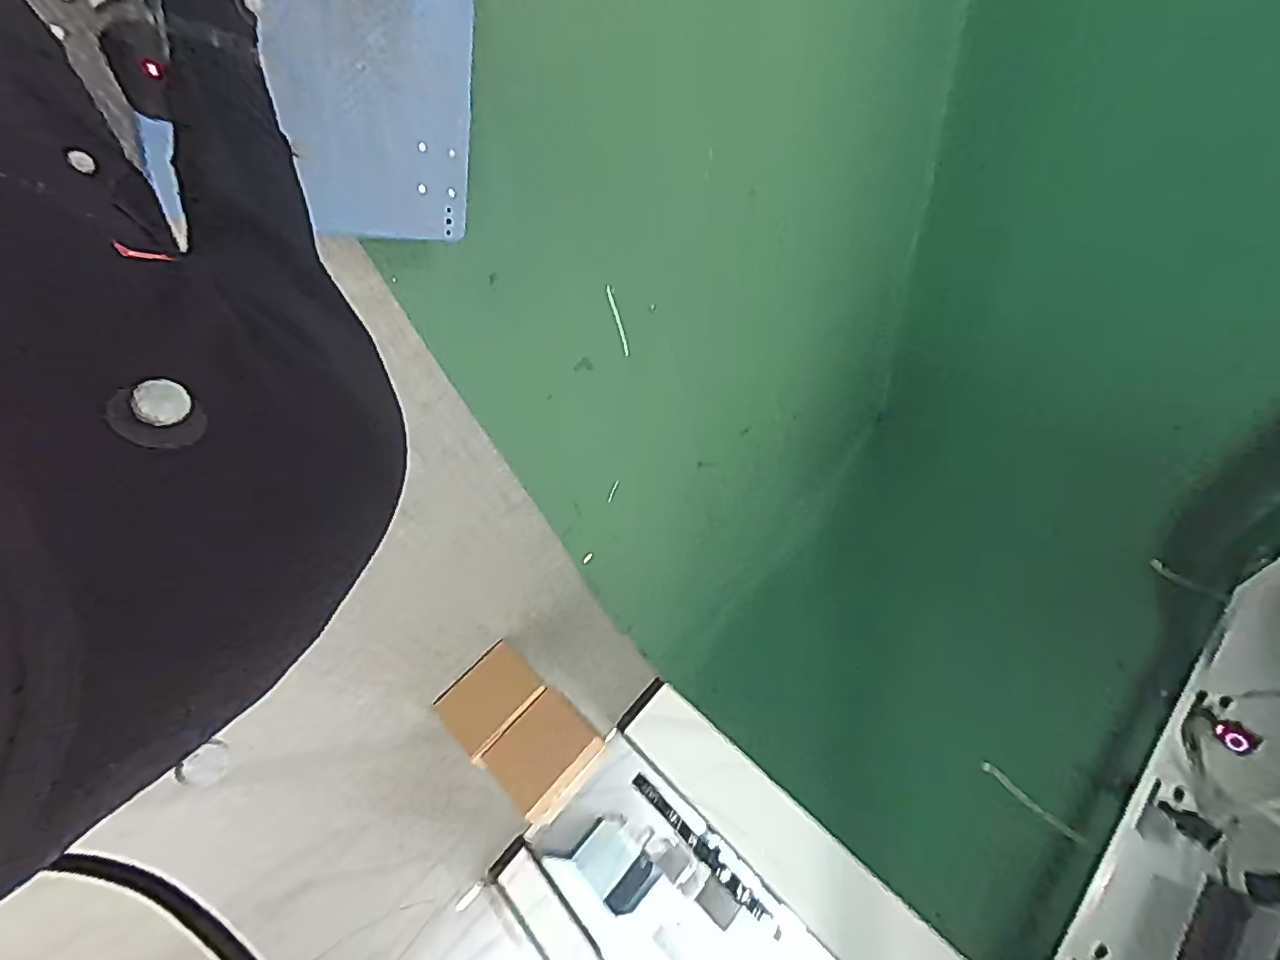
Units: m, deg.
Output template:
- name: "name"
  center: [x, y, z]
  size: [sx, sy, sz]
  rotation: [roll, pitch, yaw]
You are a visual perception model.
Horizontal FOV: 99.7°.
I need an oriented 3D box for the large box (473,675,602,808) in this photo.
- name: "large box"
  center: [-0.434, 1.127, 2.342]
  size: [0.408, 0.320, 0.320]
  rotation: [-43, 149, -18]
